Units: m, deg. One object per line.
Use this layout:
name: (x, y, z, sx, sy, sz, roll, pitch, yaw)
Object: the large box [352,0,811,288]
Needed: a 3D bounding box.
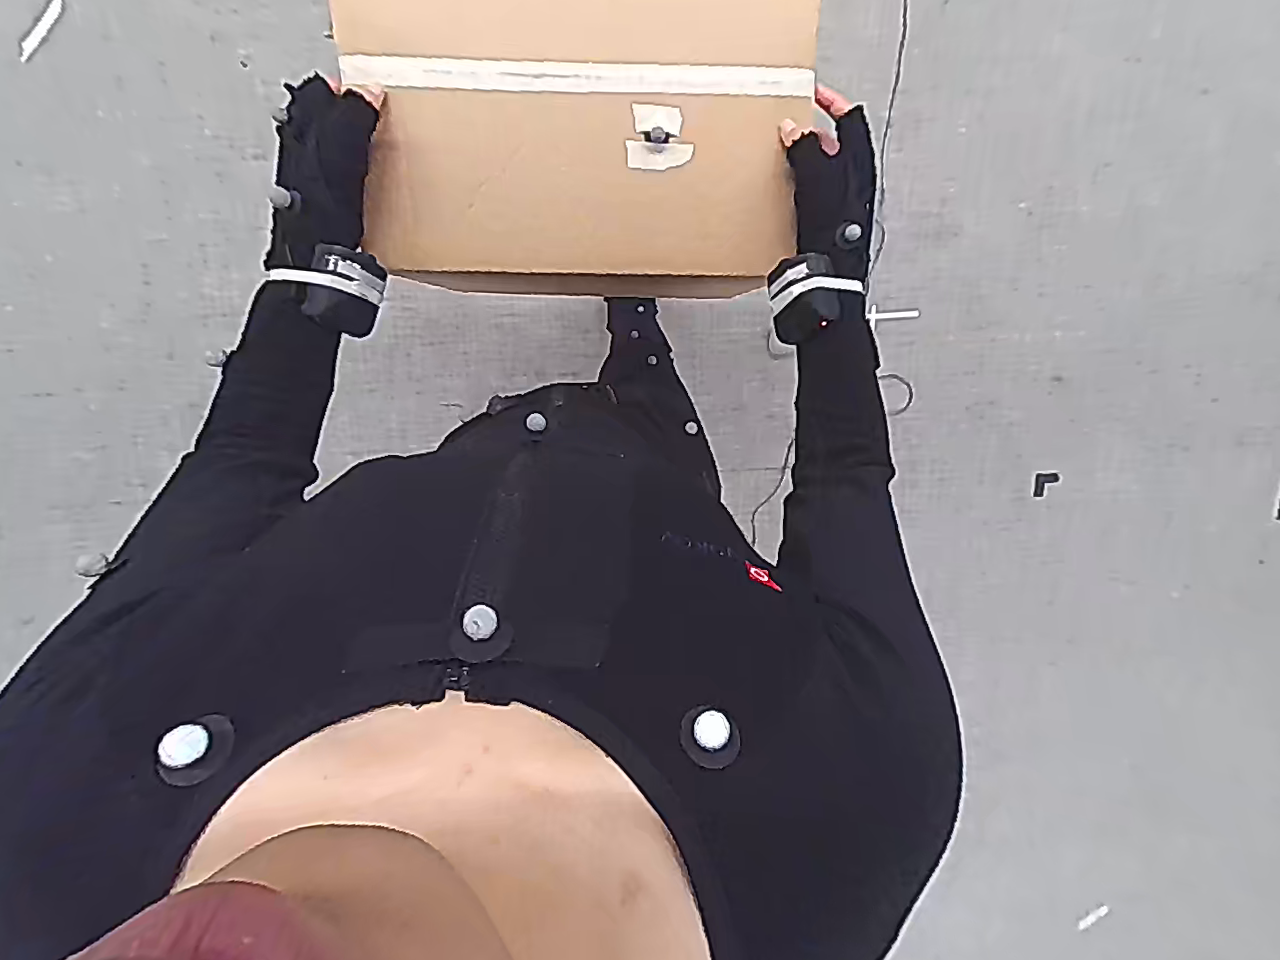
large box: (-0.057, -0.400, 0.624, 0.408, 0.320, 0.320, -1, 106, -3)
